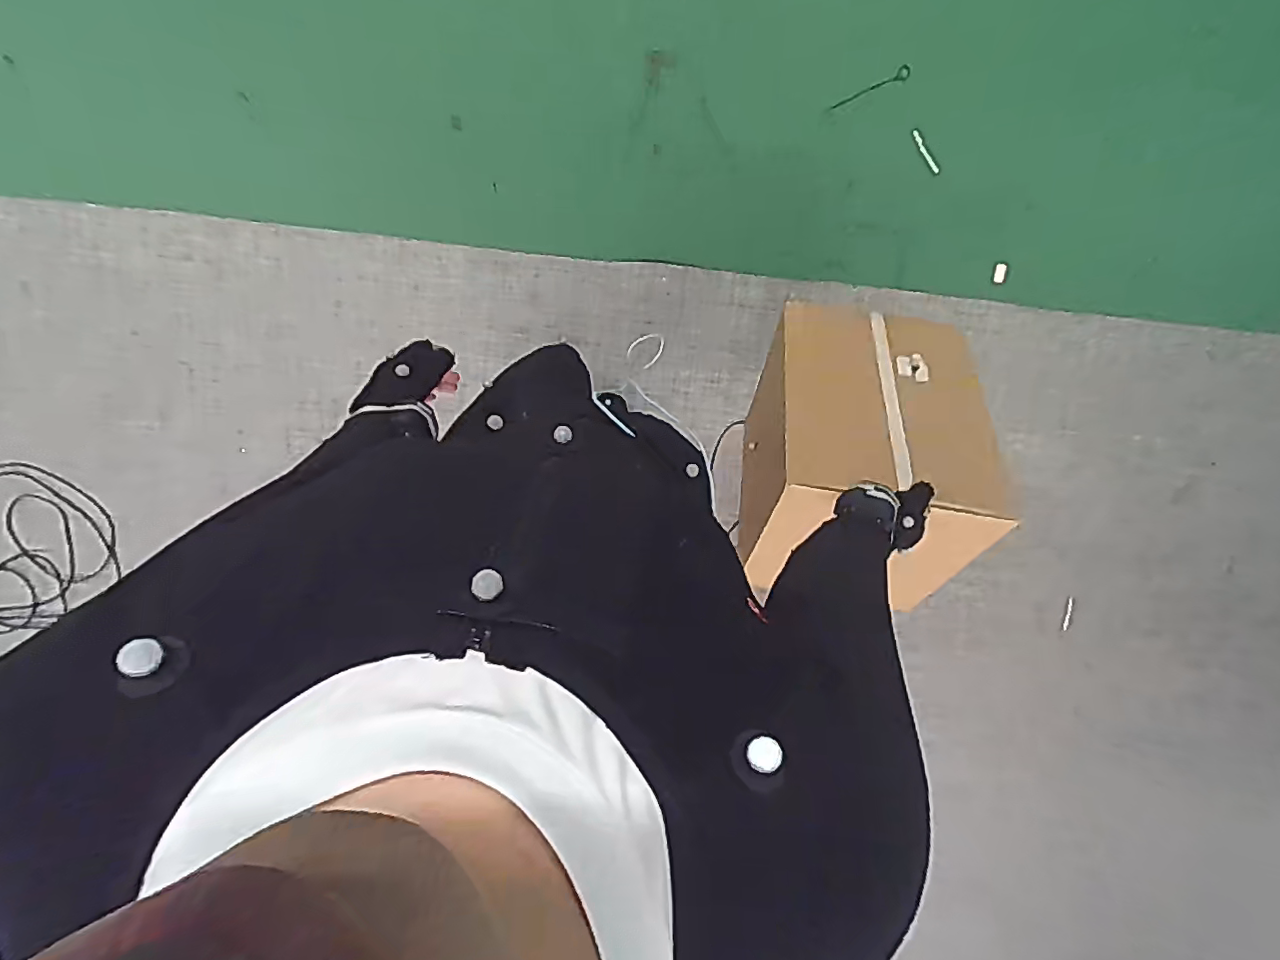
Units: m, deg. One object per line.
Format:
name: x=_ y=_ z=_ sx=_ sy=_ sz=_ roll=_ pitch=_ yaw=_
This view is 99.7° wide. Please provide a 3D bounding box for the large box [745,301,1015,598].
large box: x=0.373 y=-0.049 z=0.959 sx=0.320 sy=0.320 sz=0.408 roll=10 pitch=55 yaw=2
